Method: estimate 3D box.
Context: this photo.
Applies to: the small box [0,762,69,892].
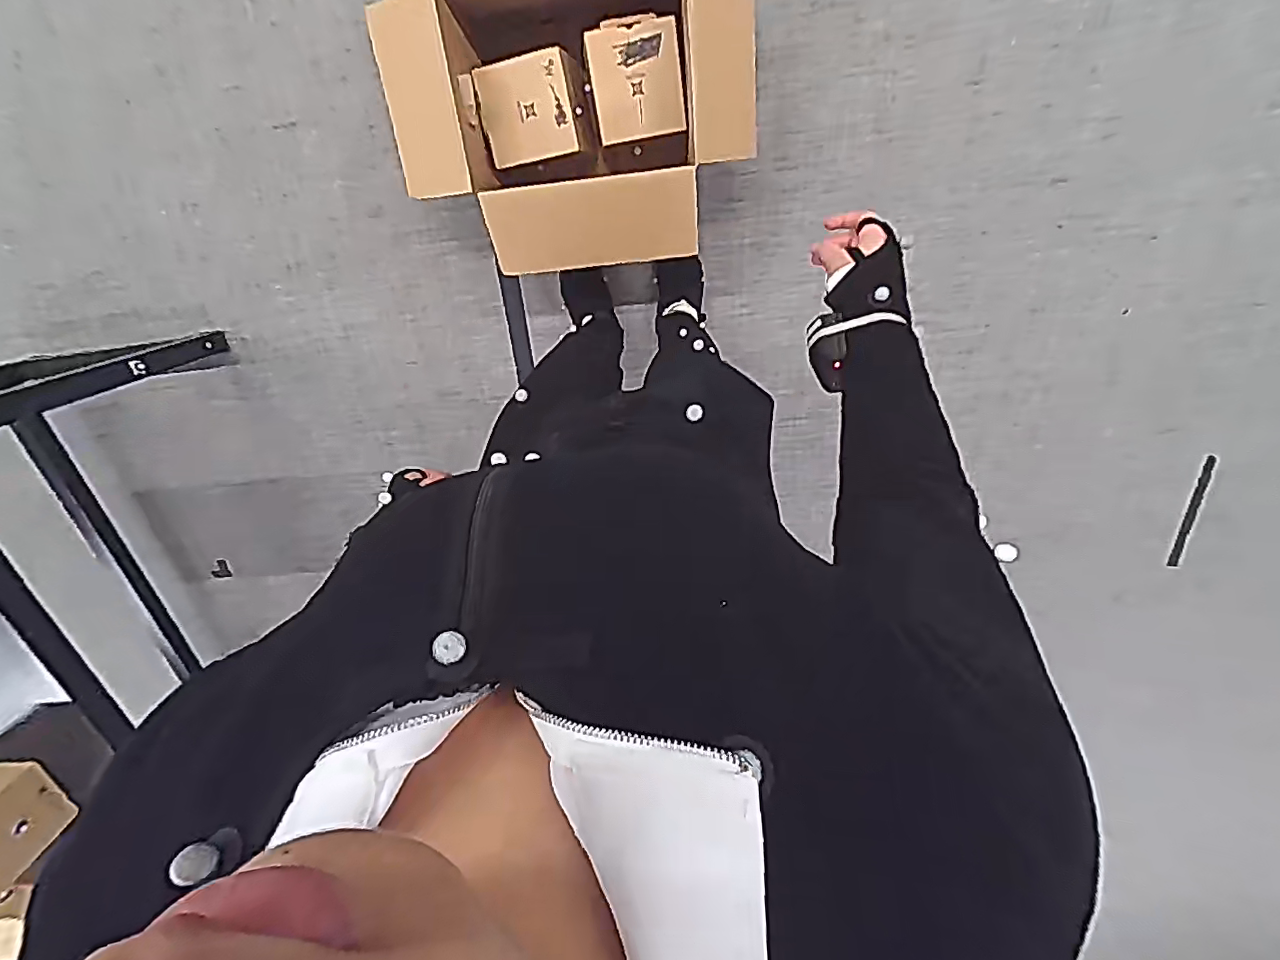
[{"bbox_3d":[-1.288,0.672,1.050,0.179,0.176,0.168,-4,116,5],"label":"small box"}]
